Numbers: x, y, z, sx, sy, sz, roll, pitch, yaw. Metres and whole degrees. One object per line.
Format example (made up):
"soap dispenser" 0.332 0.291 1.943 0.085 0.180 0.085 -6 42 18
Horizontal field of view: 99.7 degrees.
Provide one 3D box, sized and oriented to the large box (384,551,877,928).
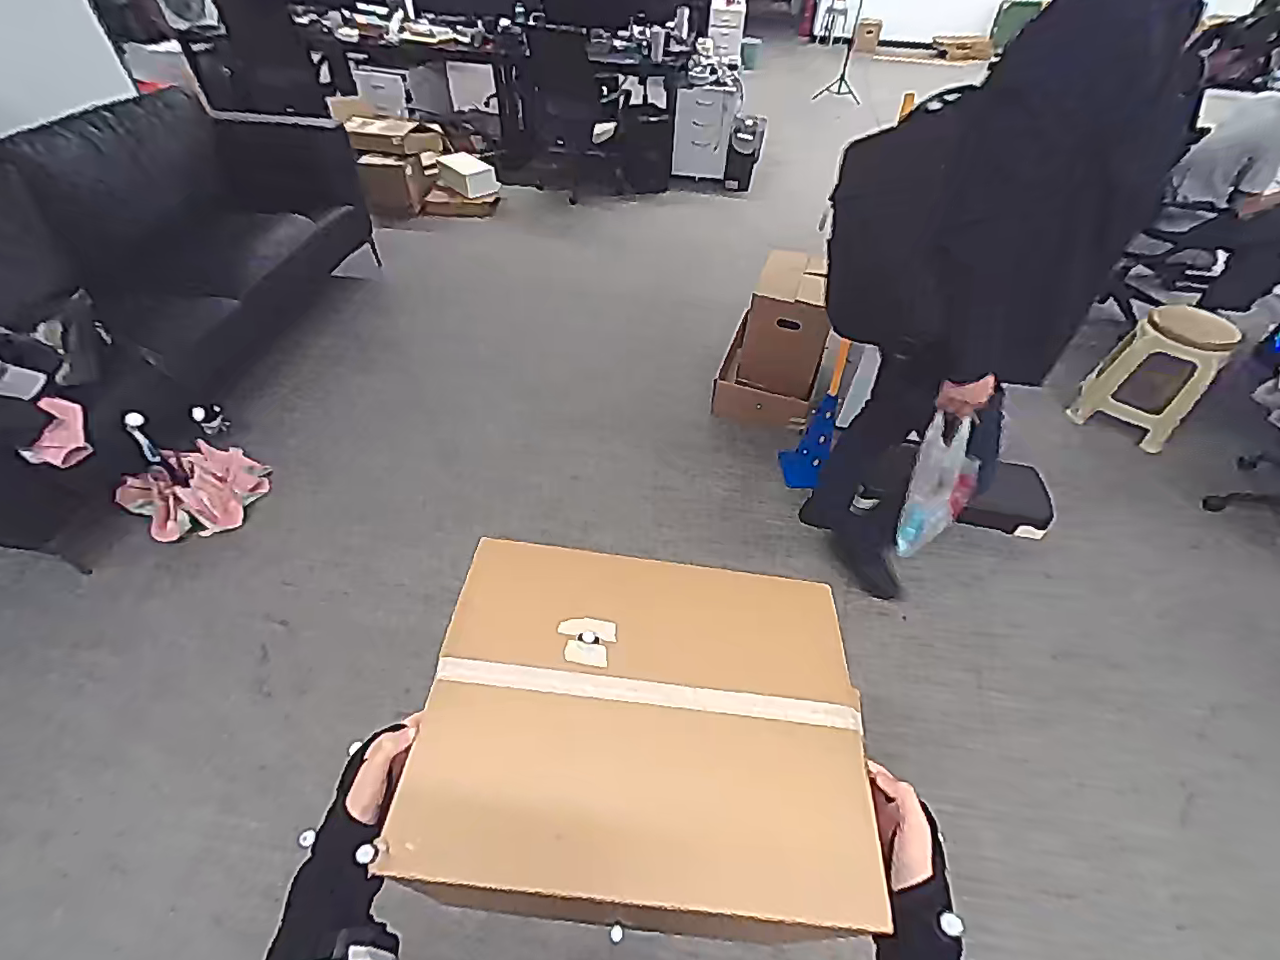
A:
"large box" -0.007 0.313 0.636 0.408 0.320 0.320 7 47 -1
